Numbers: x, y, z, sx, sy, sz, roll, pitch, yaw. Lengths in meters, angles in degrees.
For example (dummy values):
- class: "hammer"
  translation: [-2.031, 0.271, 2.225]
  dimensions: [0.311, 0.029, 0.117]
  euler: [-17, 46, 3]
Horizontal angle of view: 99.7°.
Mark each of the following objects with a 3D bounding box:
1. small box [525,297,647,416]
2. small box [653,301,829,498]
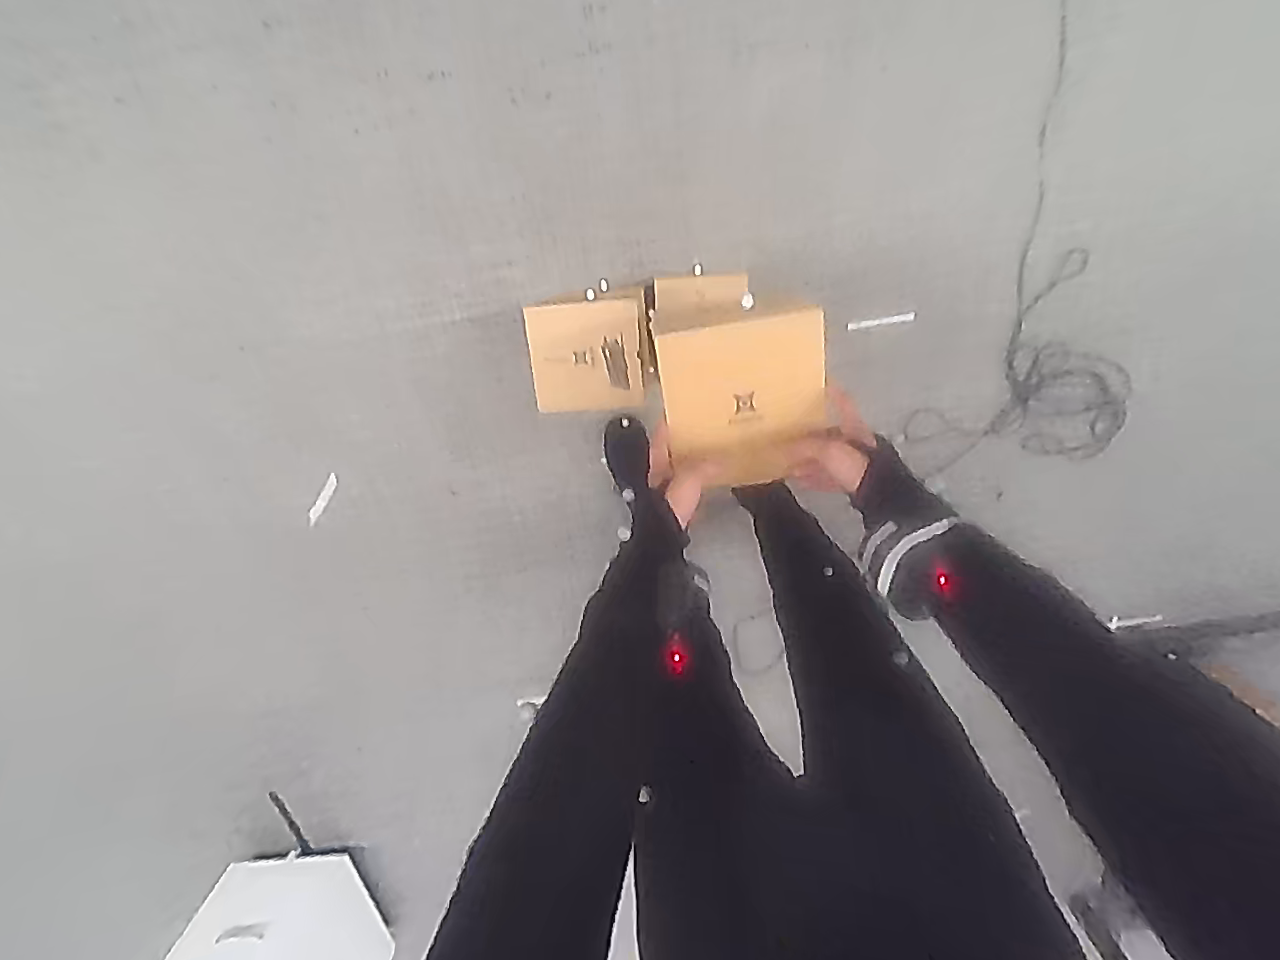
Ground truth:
- class: "small box"
  translation: [-0.080, -0.212, 0.910]
  dimensions: [0.179, 0.176, 0.168]
  euler: [-3, 111, 4]
- class: "small box"
  translation: [0.108, -0.102, 0.621]
  dimensions: [0.168, 0.176, 0.179]
  euler: [-9, 115, 4]
